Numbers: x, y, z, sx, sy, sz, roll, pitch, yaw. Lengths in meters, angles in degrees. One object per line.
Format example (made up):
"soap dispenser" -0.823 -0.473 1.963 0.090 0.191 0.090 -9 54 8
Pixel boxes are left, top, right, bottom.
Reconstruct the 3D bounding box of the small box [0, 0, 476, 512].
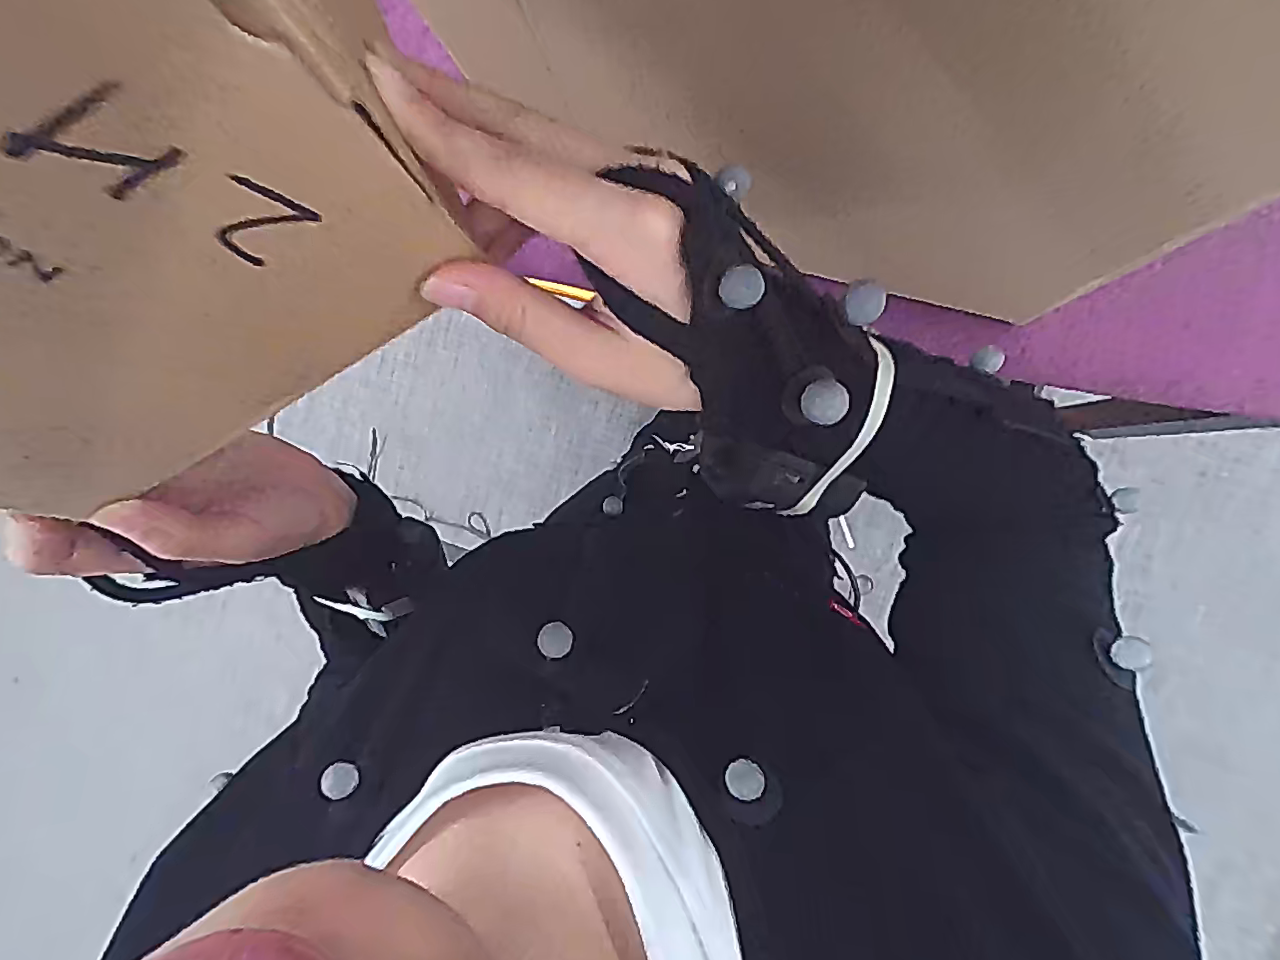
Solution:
"small box" -0.176 -0.116 0.130 0.179 0.168 0.176 -28 71 8
